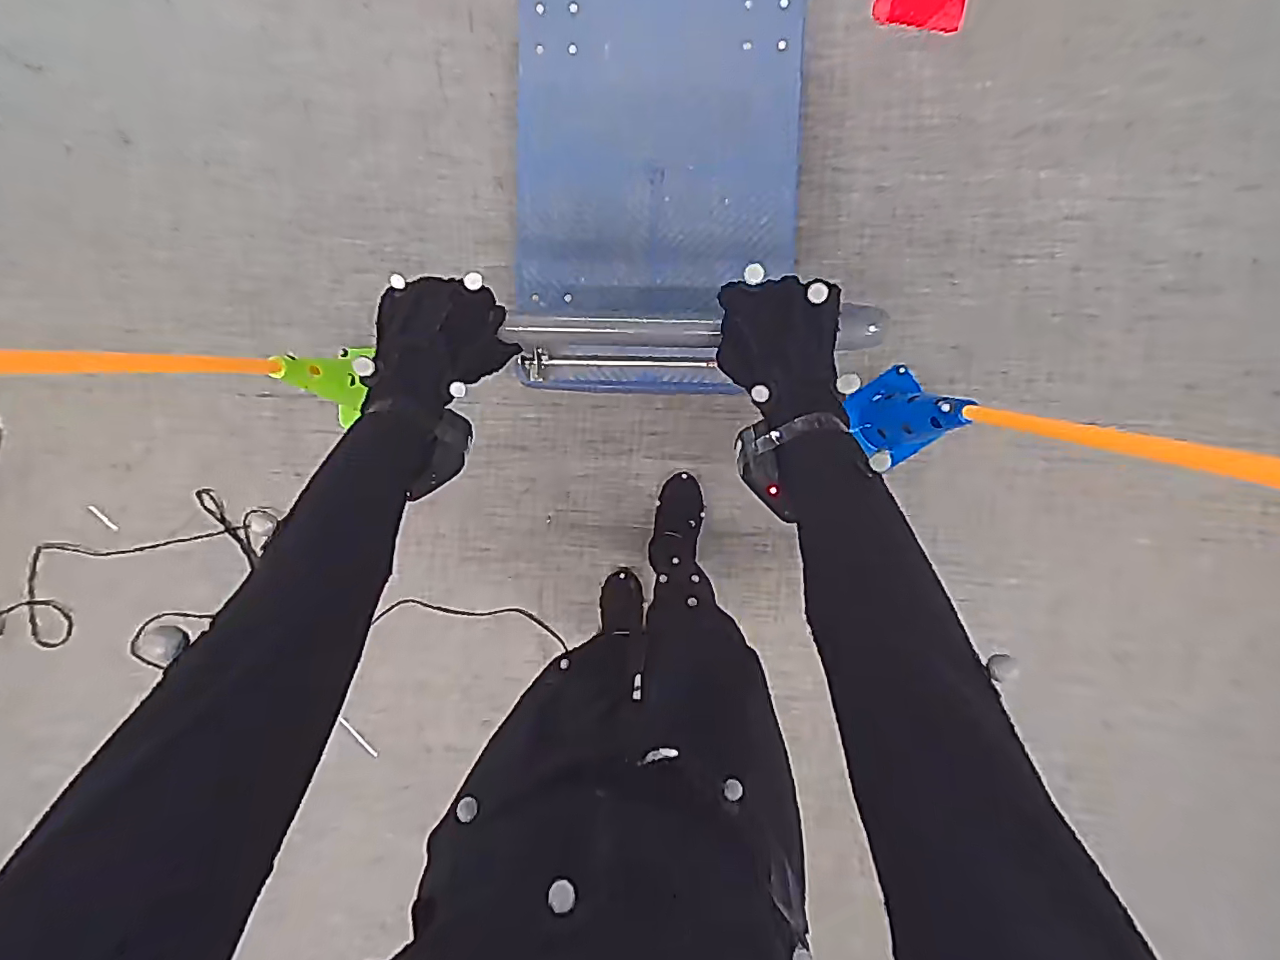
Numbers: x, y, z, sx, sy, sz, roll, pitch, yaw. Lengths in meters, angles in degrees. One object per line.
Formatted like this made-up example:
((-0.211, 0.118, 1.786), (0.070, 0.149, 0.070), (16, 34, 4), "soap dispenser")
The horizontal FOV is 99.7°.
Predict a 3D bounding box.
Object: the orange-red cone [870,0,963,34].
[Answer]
((0.624, -1.110, 1.049), (0.198, 0.360, 0.199), (14, 95, 3), "orange-red cone")
